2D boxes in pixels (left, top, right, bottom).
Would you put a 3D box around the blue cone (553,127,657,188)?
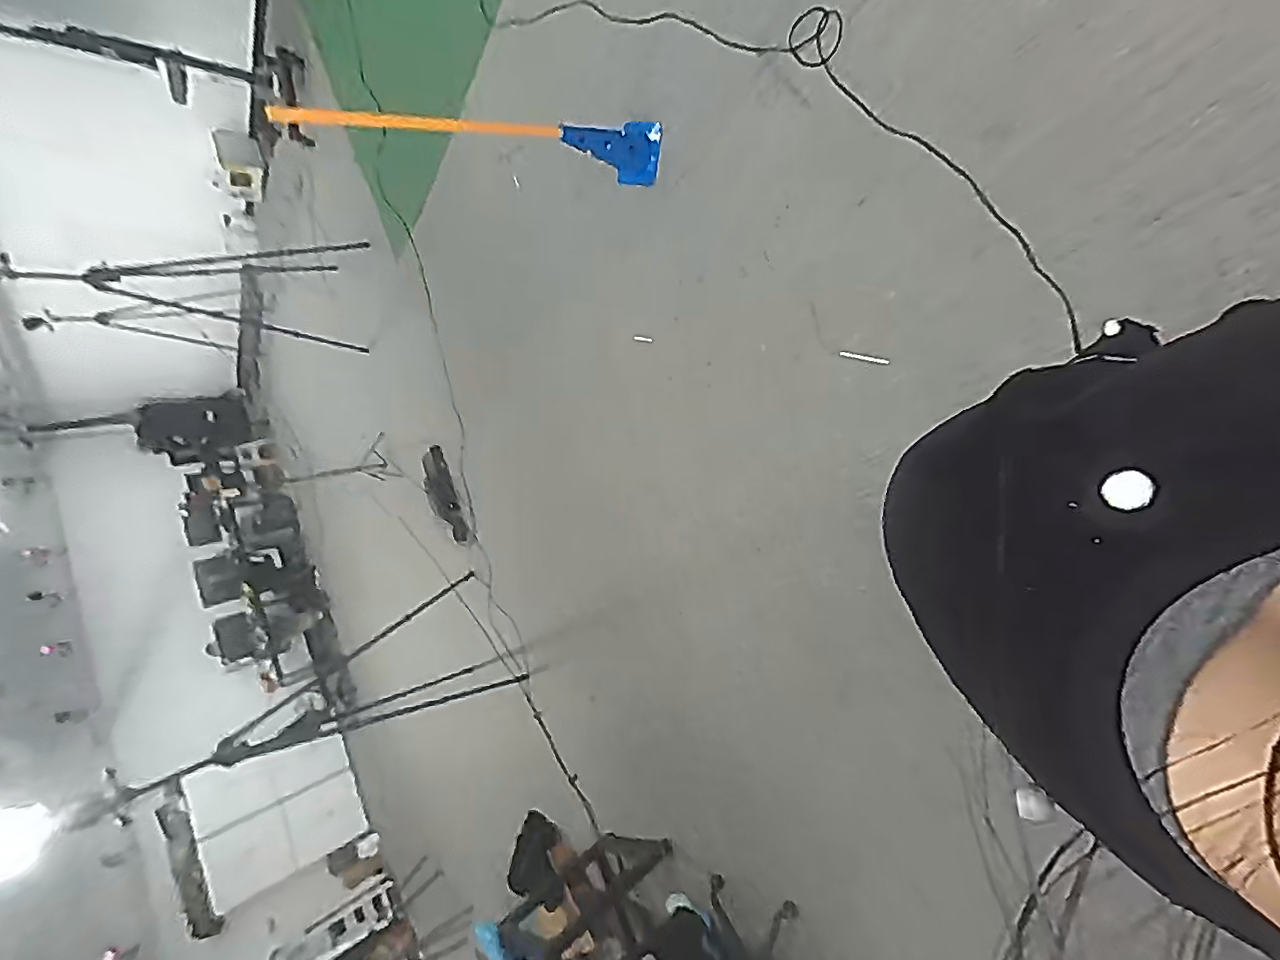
[{"bbox_3d":[-0.129,-1.124,1.843,0.192,0.380,0.193,28,122,38],"label":"blue cone"}]
